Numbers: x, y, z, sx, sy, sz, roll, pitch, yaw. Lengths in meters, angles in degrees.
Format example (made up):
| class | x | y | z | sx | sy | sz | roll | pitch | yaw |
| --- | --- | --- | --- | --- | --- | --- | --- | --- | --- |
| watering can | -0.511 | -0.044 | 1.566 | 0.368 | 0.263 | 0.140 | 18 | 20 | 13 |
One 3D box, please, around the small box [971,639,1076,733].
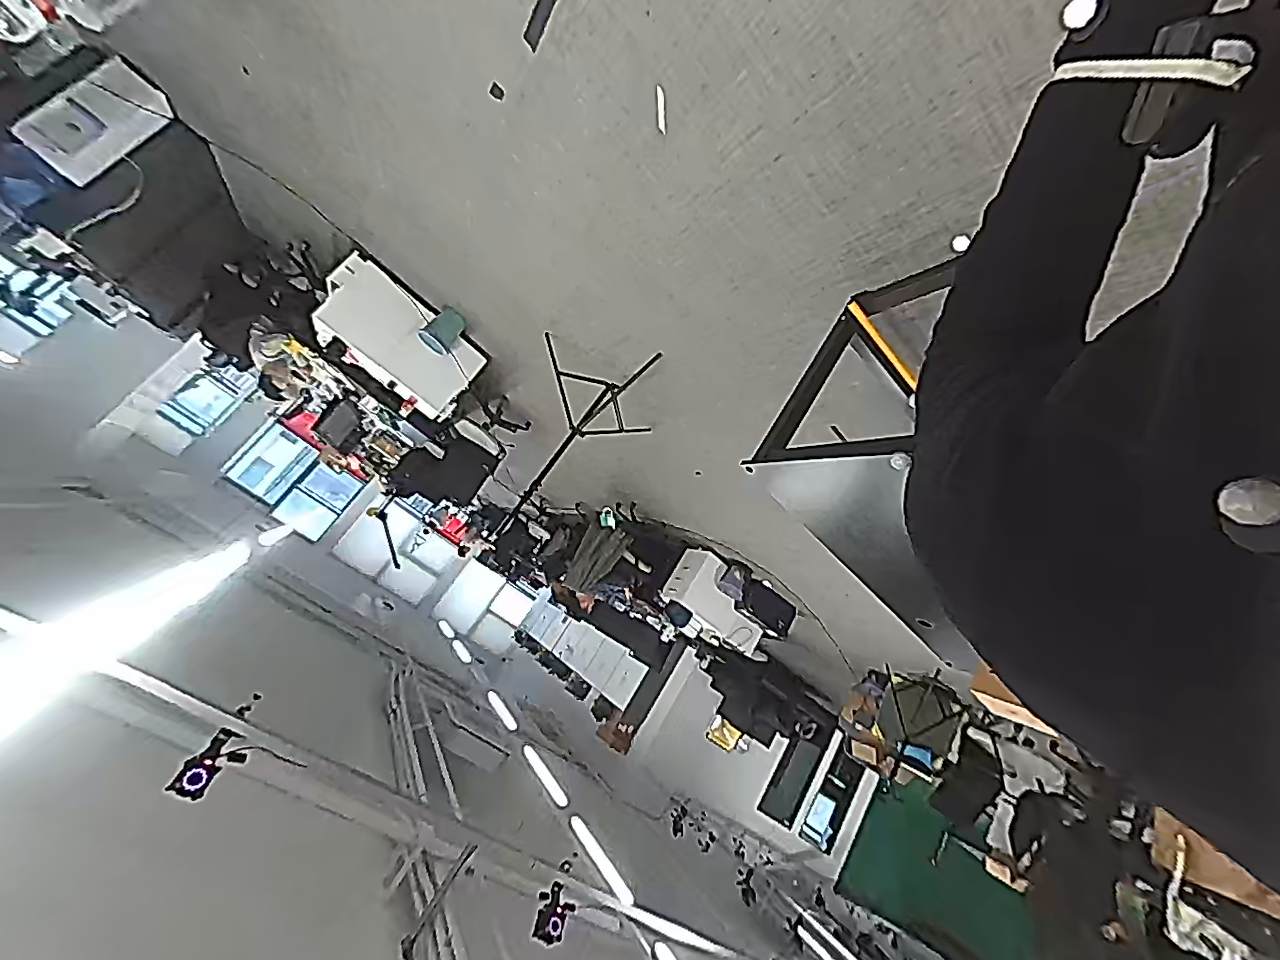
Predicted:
| class | x | y | z | sx | sy | sz | roll | pitch | yaw |
| --- | --- | --- | --- | --- | --- | --- | --- | --- | --- |
| small box | 1.095 | 0.578 | 1.543 | 0.168 | 0.176 | 0.179 | 40 | 161 | -24 |
